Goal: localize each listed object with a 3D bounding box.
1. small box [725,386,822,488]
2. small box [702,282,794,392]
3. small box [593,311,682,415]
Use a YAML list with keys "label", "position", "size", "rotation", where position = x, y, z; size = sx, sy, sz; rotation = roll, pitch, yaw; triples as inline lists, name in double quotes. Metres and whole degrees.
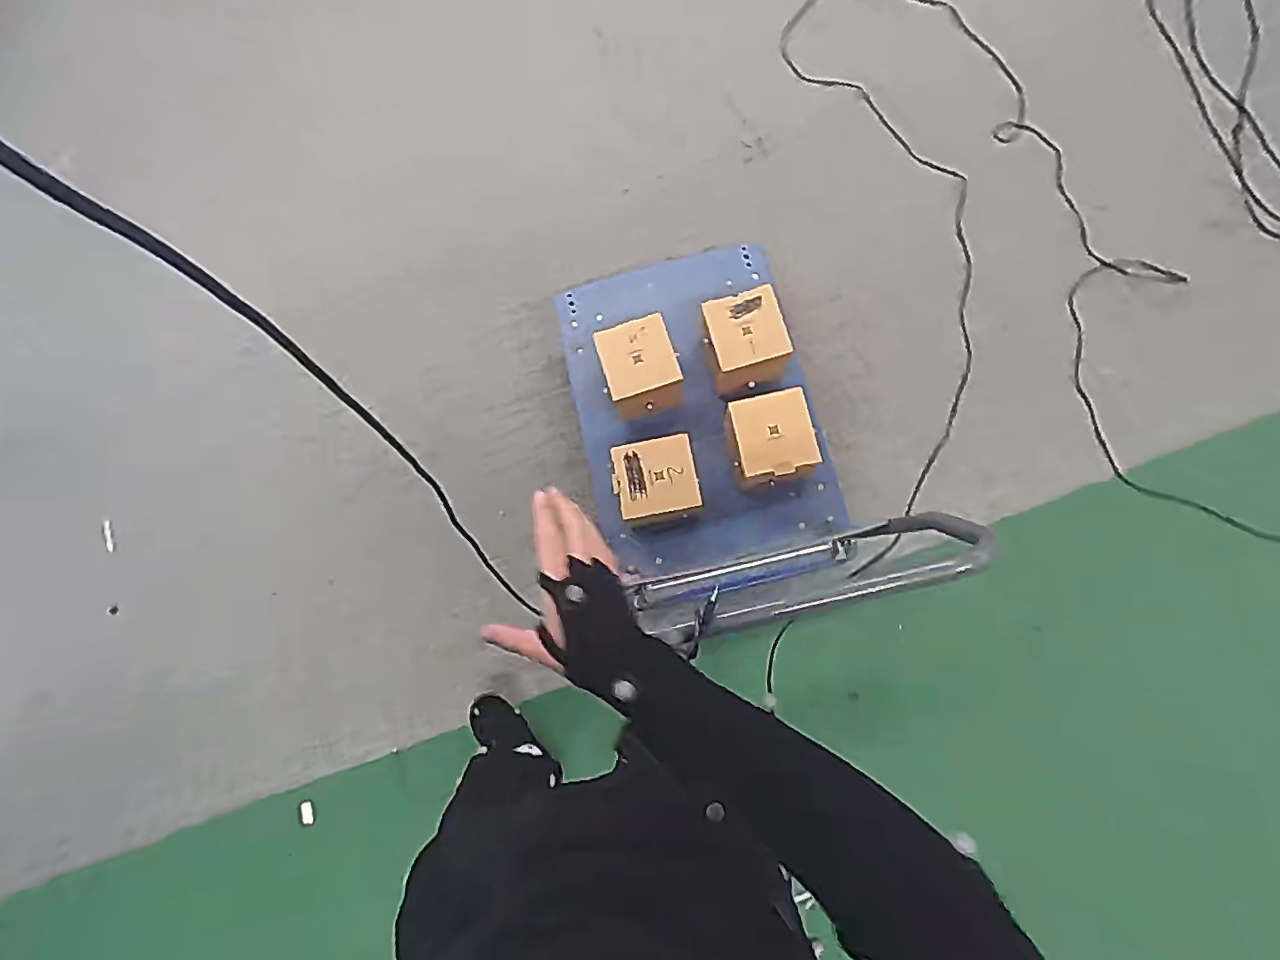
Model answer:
- label: "small box"
  position: [0.297, -0.093, 1.240]
  size: [0.168, 0.176, 0.179]
  rotation: [-12, 79, 3]
- label: "small box"
  position: [0.247, -0.333, 1.287]
  size: [0.168, 0.176, 0.179]
  rotation: [-16, 80, 3]
- label: "small box"
  position: [0.000, -0.269, 1.298]
  size: [0.168, 0.176, 0.179]
  rotation: [-18, 79, 1]
